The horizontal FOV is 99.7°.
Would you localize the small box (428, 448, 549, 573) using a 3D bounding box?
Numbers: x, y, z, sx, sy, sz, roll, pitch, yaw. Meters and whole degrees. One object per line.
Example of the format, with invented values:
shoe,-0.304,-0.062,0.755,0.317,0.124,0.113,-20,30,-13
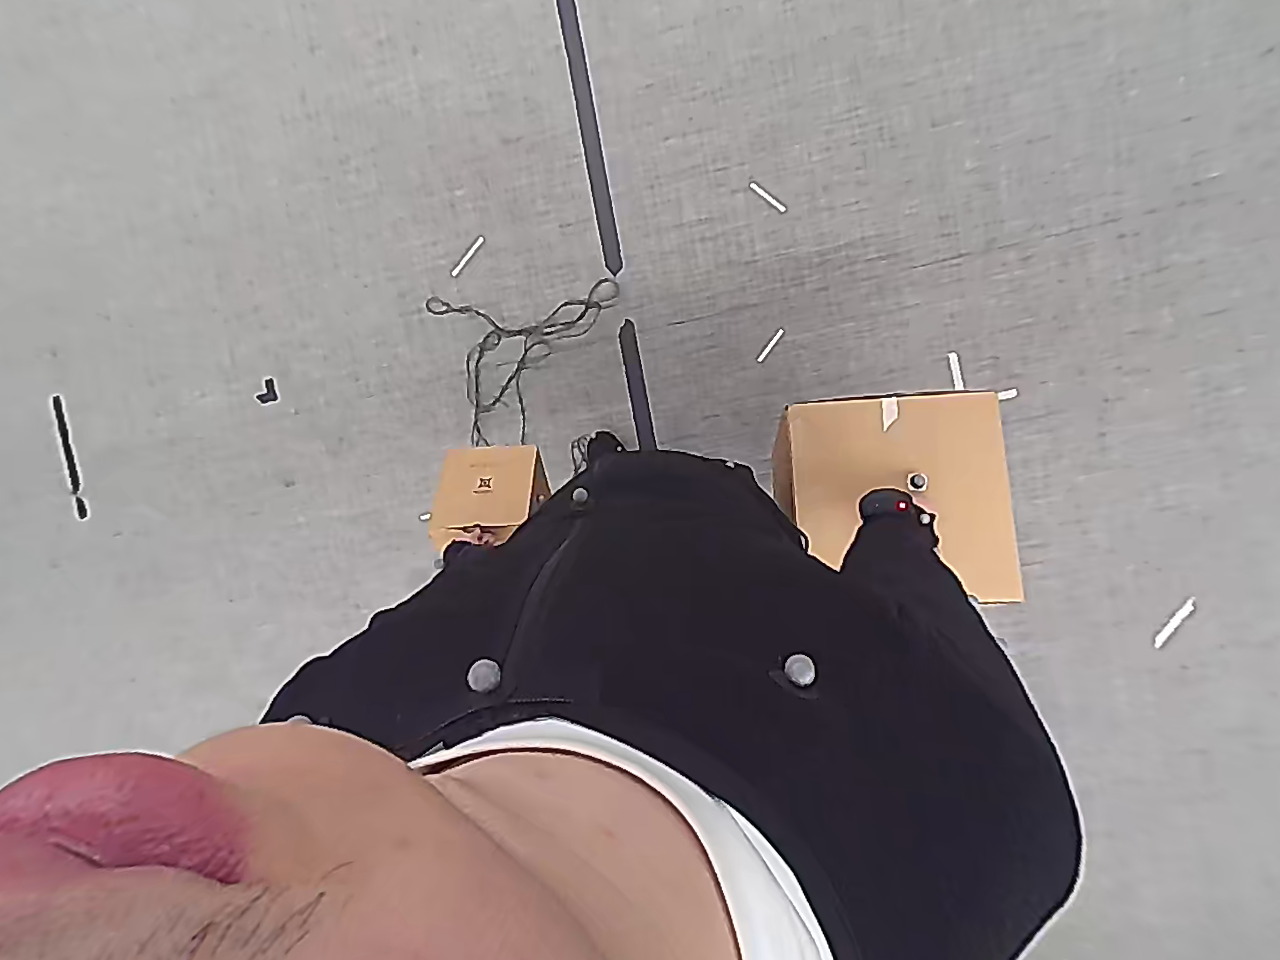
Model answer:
small box,-0.264,0.062,0.991,0.168,0.176,0.179,-2,53,0
